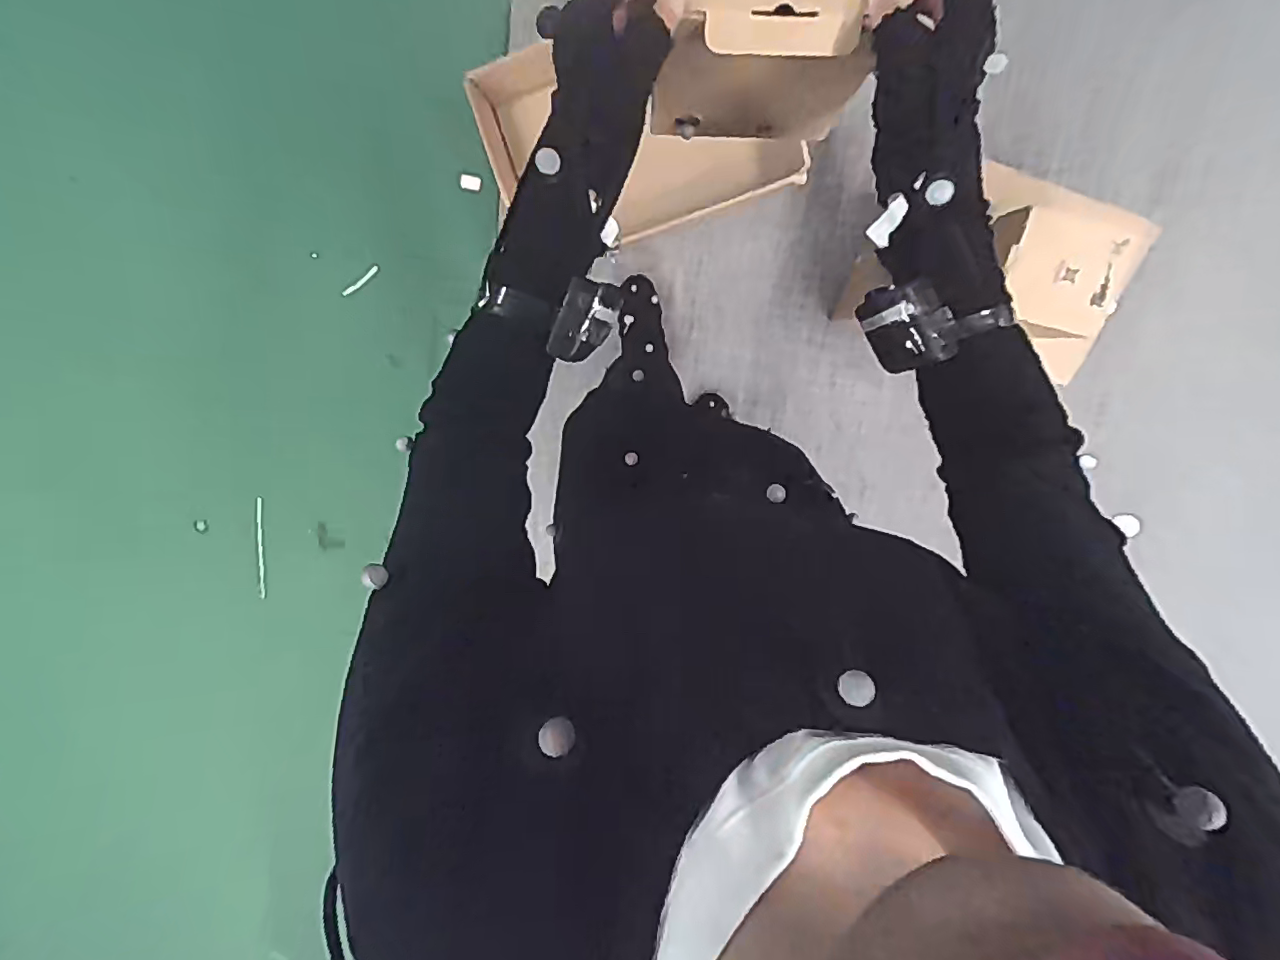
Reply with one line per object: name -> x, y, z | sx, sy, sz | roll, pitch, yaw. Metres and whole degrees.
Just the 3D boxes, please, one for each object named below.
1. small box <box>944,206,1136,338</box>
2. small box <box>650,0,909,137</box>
small box -> 0.662, -0.343, 0.924 | 0.179, 0.176, 0.168 | 14, 106, 0
small box -> 0.093, -0.391, 0.413 | 0.168, 0.176, 0.179 | 1, 98, -1
